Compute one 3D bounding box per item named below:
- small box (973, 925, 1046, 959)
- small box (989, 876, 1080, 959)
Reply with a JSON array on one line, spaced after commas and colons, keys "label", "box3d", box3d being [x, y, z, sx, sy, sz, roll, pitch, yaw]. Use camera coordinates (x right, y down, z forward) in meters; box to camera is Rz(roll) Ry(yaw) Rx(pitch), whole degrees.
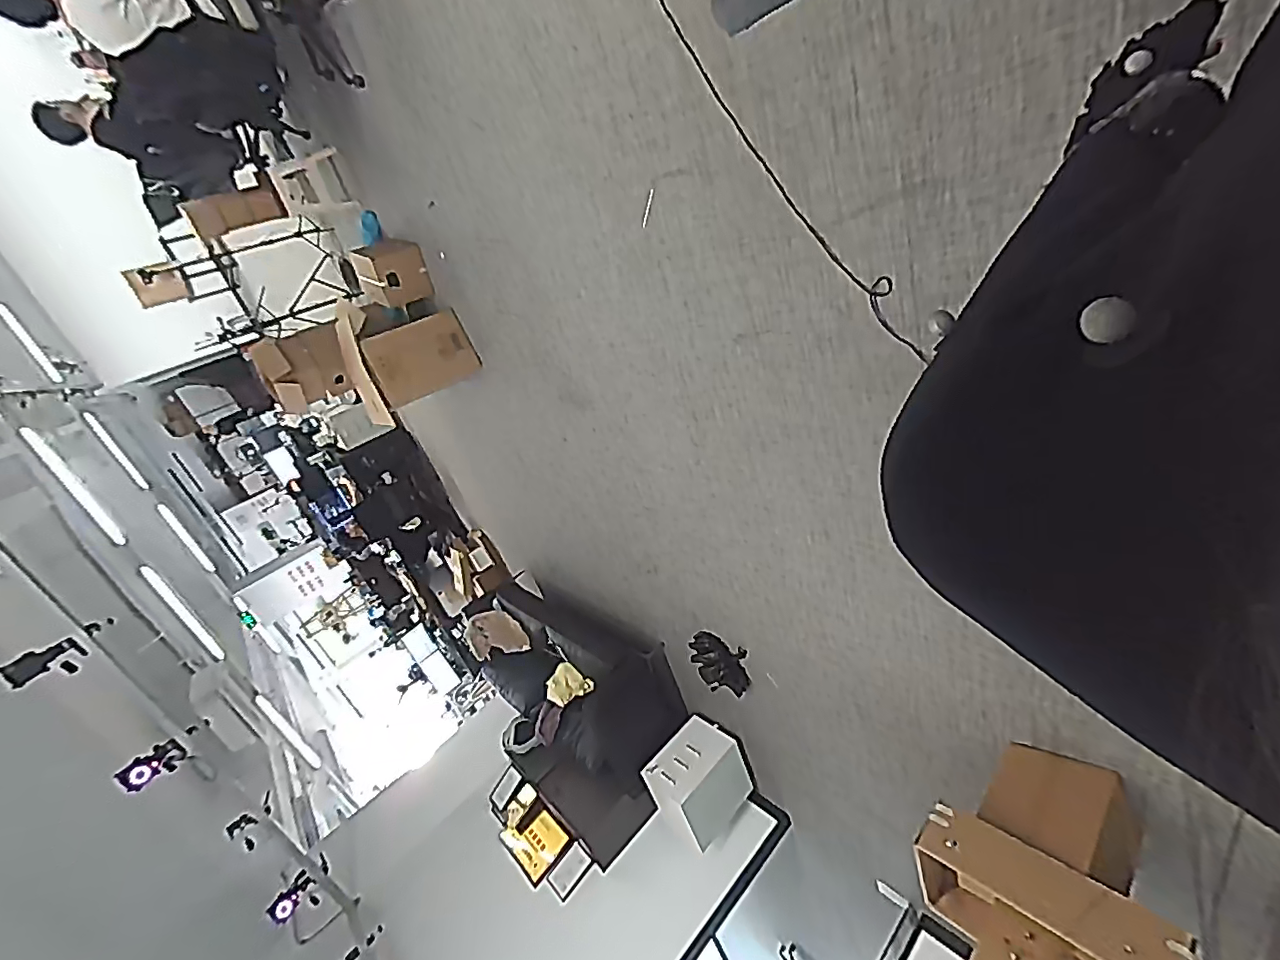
[{"label": "small box", "box3d": [1.038, 1.406, 1.495, 0.168, 0.176, 0.179, 4, 123, 53]}, {"label": "small box", "box3d": [1.154, 1.320, 1.575, 0.168, 0.176, 0.179, 2, 123, 53]}]
